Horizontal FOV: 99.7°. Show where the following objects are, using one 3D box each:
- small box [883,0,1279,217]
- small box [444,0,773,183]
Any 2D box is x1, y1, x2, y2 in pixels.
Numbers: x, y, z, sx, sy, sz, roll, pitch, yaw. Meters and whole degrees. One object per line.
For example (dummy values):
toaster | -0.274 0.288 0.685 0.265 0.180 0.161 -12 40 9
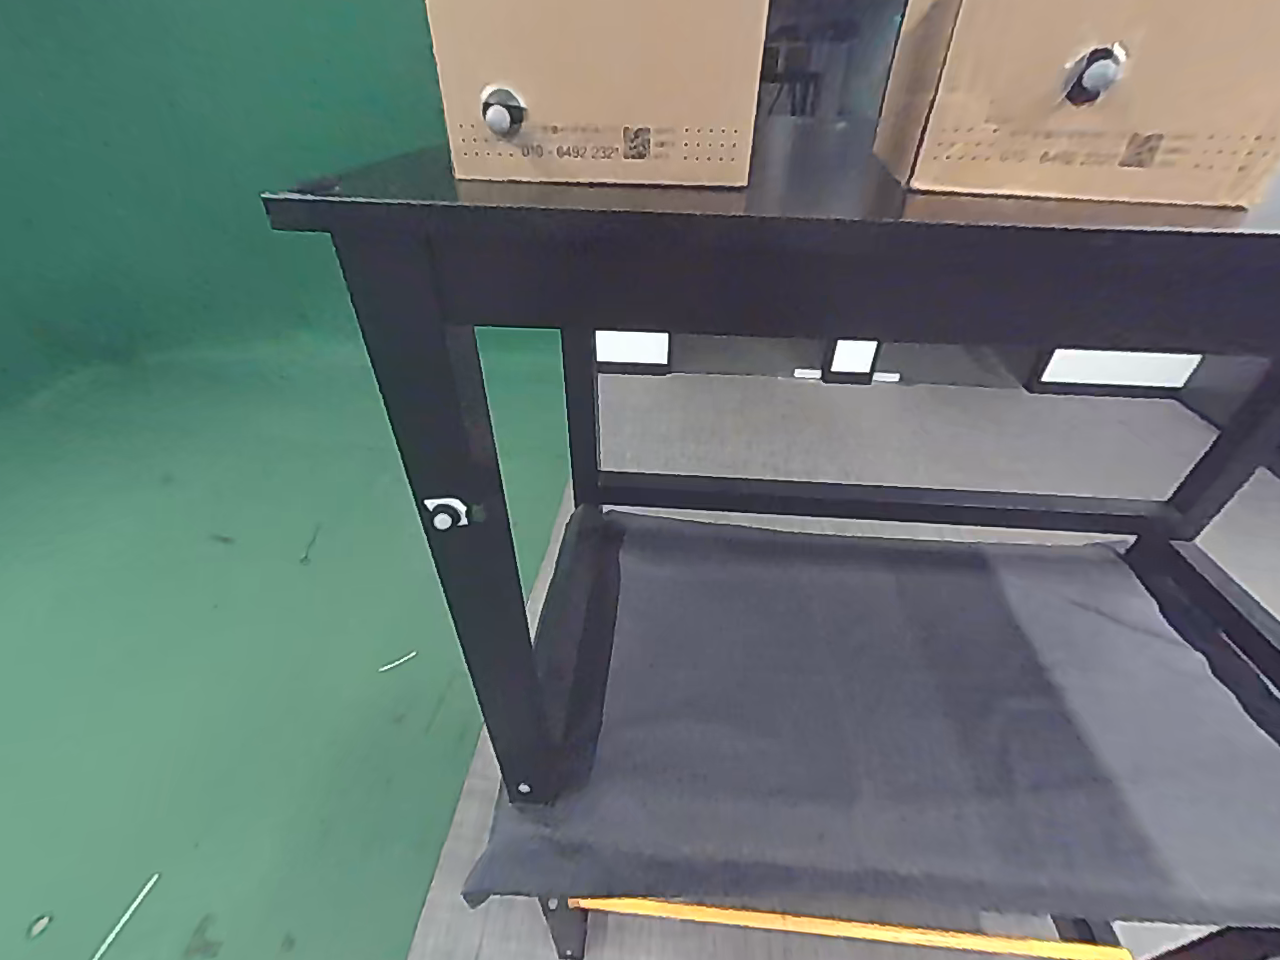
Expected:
small box | 0.254 -0.264 0.309 0.168 0.176 0.179 9 38 10
small box | -0.010 -0.283 0.321 0.168 0.176 0.179 3 36 2
